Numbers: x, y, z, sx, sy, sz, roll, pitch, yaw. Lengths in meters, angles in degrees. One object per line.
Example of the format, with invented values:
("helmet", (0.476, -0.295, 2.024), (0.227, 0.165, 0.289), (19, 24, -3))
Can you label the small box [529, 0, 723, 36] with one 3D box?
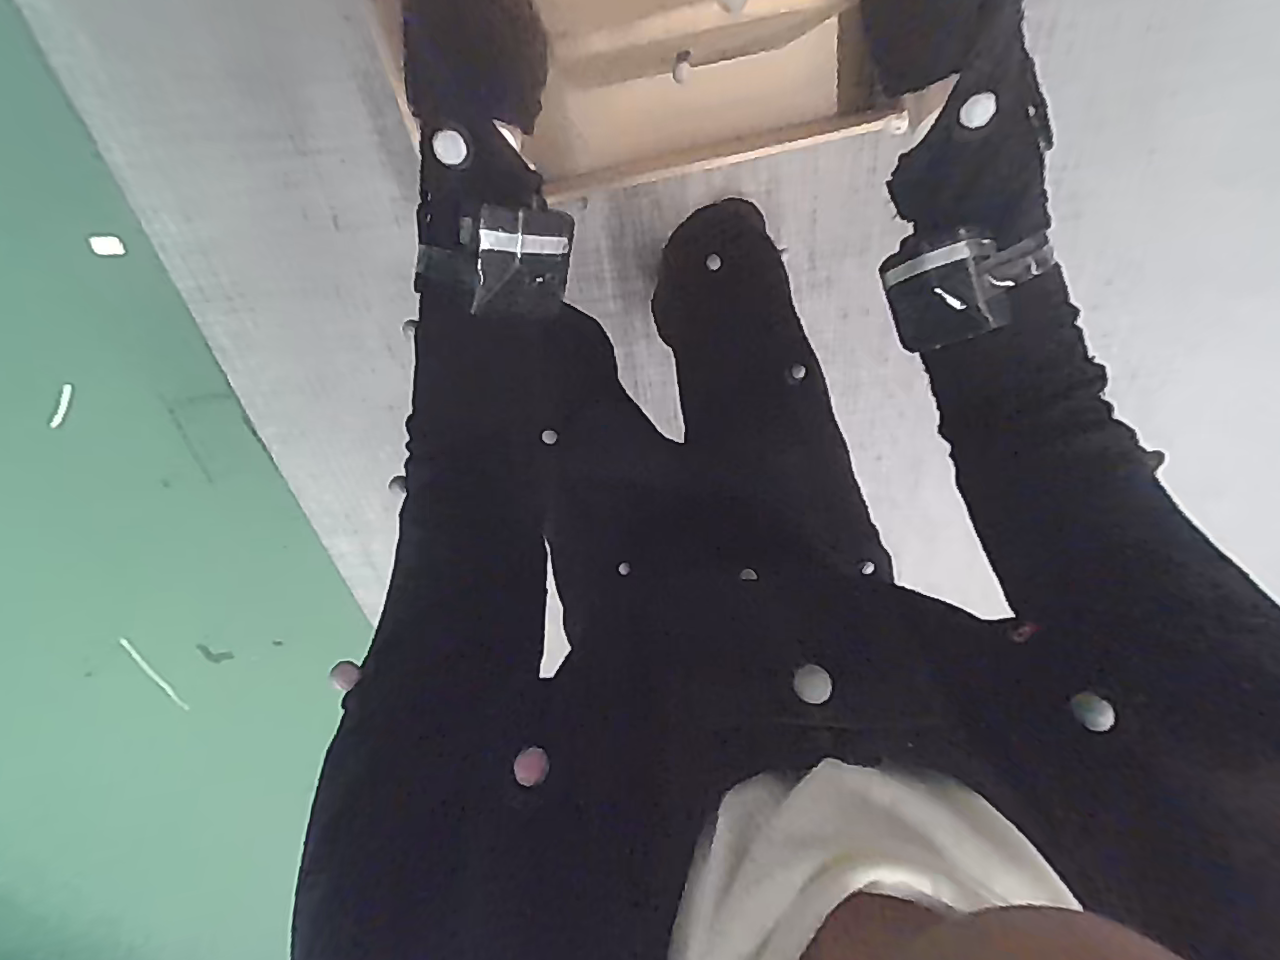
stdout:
("small box", (0.014, -0.300, 0.202), (0.168, 0.176, 0.179), (-13, 119, 6))
